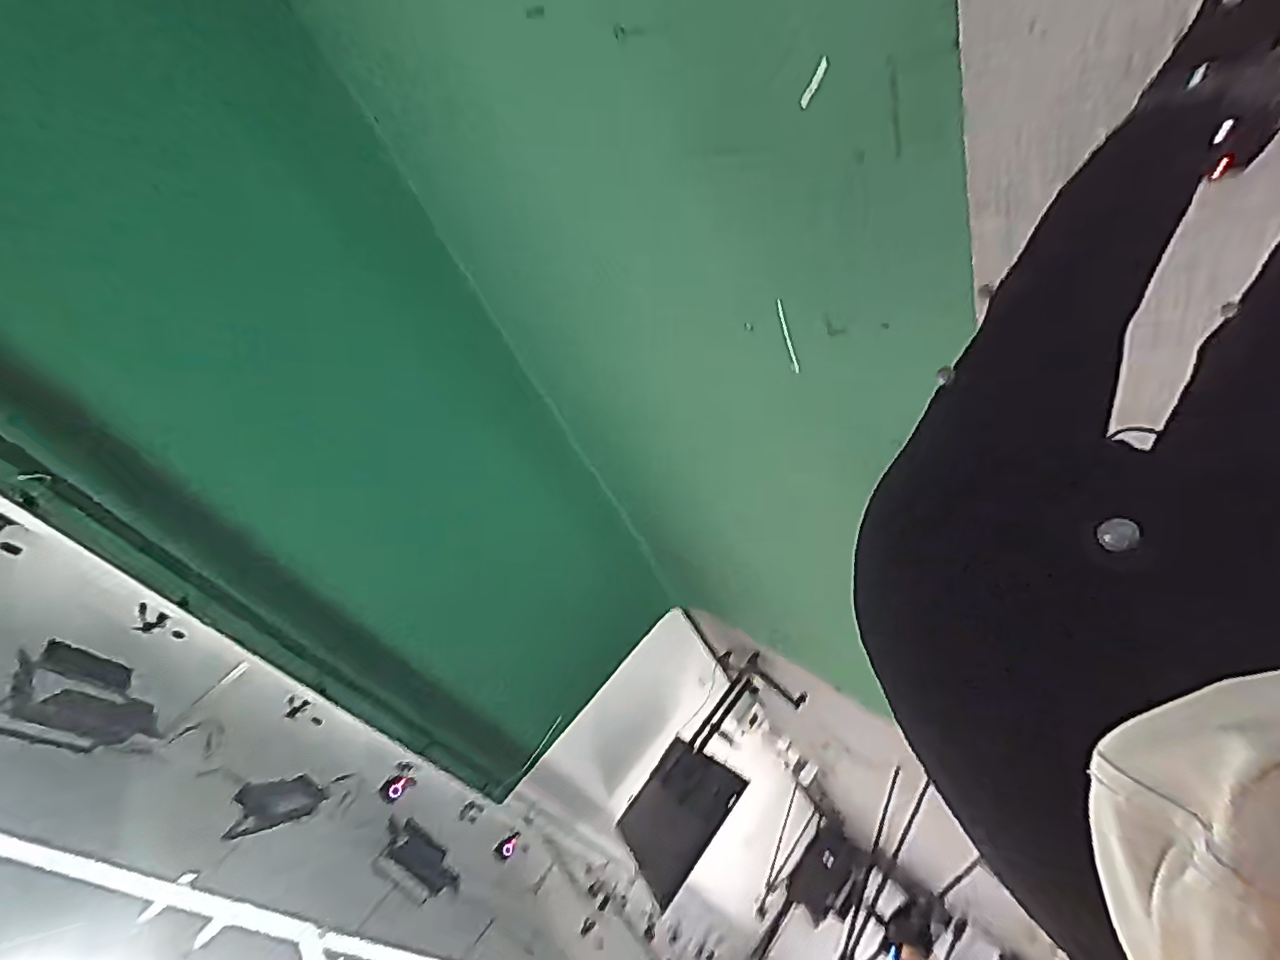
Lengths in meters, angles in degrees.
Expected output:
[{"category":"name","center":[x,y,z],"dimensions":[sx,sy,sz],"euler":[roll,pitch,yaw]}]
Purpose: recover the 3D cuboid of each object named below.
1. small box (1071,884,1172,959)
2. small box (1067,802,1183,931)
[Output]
[{"category":"small box","center":[1.291,1.131,1.454],"dimensions":[0.168,0.176,0.179],"euler":[18,146,49]},{"category":"small box","center":[1.160,0.922,1.299],"dimensions":[0.168,0.176,0.179],"euler":[20,150,47]}]
